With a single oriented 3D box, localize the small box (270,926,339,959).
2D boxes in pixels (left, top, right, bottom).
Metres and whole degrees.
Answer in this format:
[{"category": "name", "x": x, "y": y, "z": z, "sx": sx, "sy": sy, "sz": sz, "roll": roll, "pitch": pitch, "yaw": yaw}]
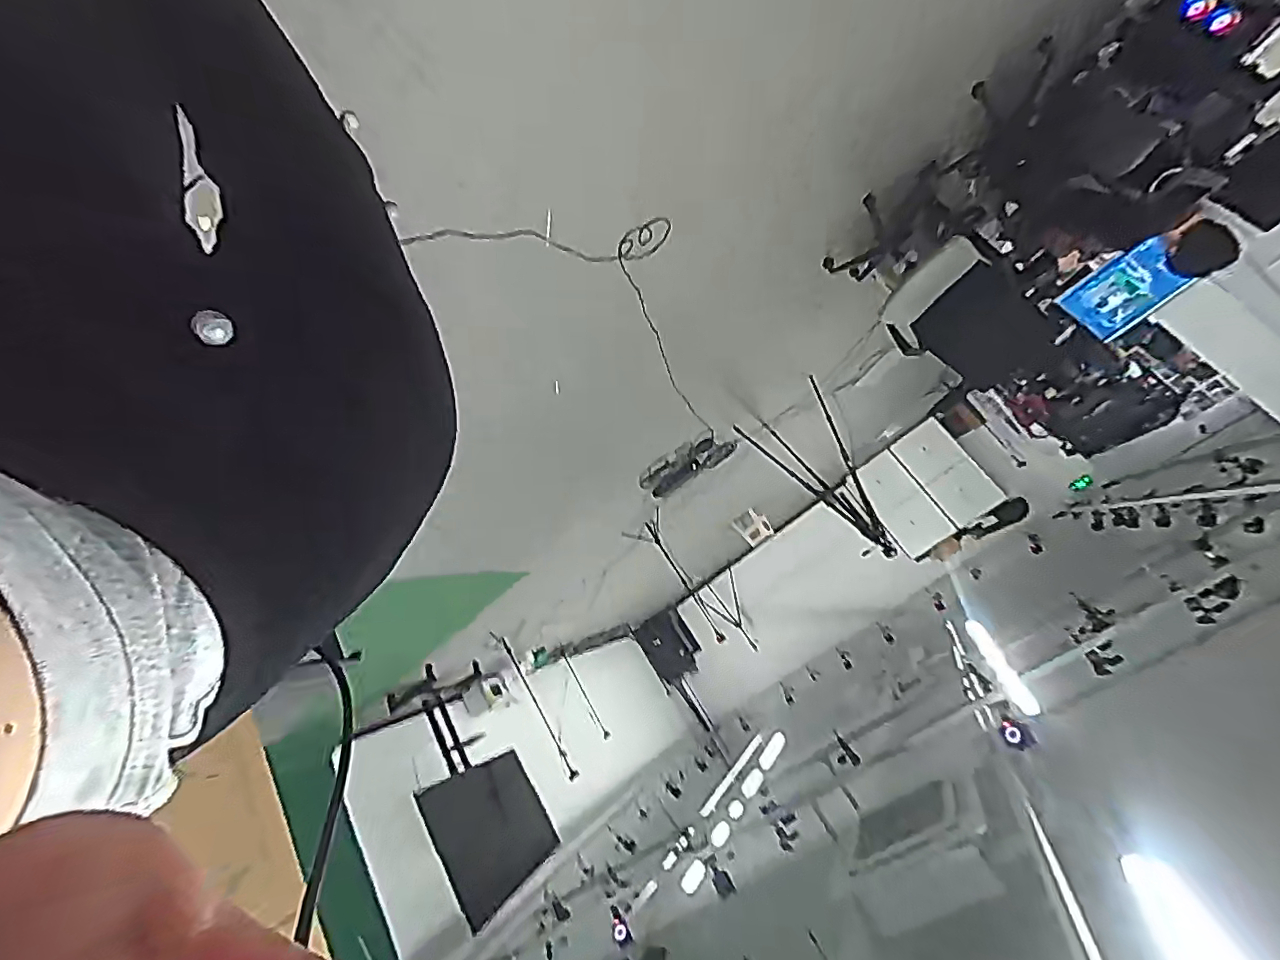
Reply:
[{"category": "small box", "x": -0.919, "y": 1.337, "z": 1.428, "sx": 0.179, "sy": 0.176, "sz": 0.168, "roll": -43, "pitch": 158, "yaw": 20}]
